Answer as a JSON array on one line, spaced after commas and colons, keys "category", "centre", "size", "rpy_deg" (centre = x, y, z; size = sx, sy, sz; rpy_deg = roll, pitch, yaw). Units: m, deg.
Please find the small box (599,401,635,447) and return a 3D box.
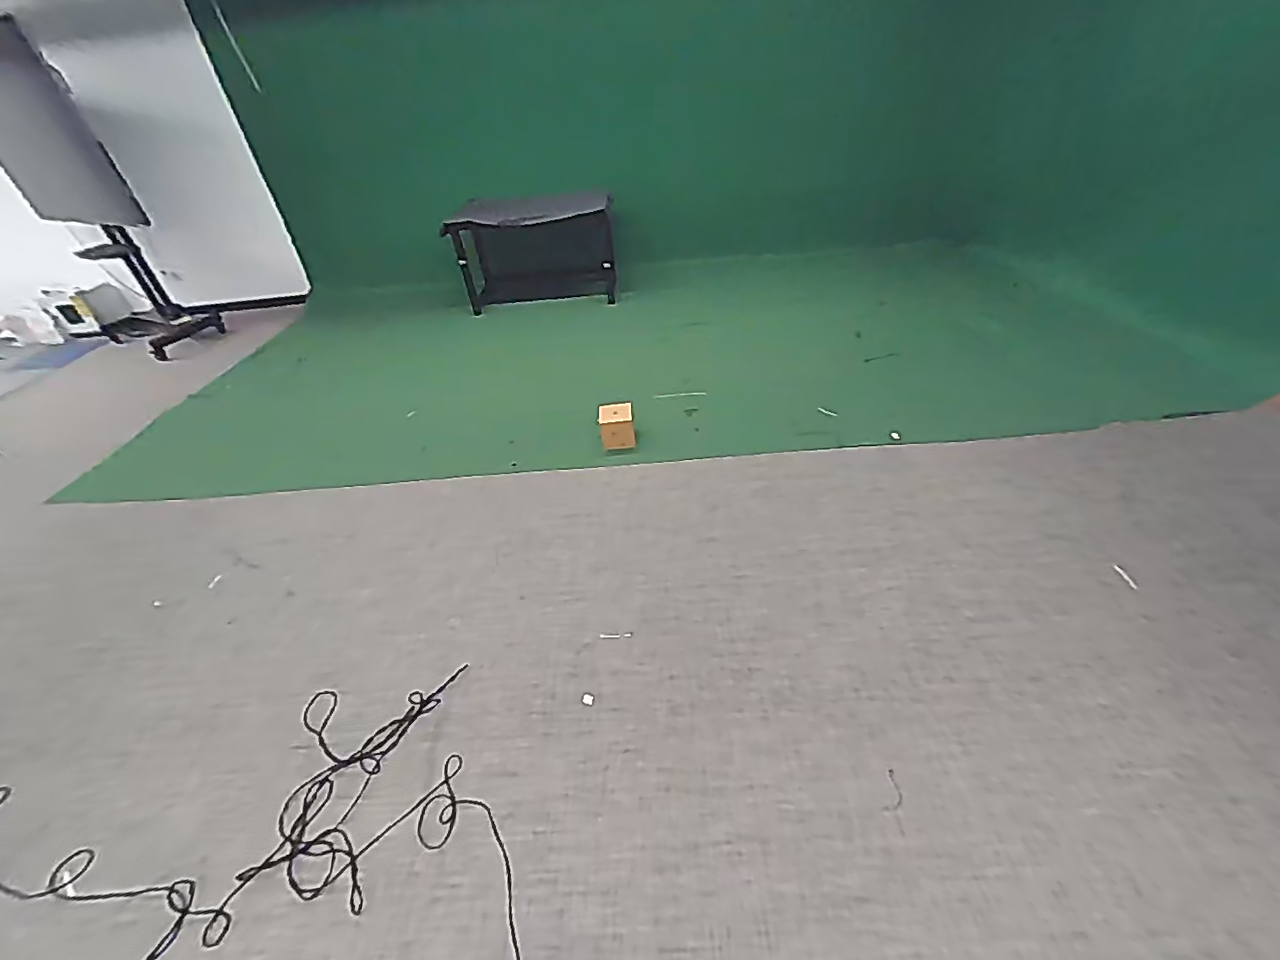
[{"category": "small box", "centre": [-0.116, -0.280, 2.762], "size": [0.168, 0.176, 0.179], "rpy_deg": [-6, 37, 1]}]
